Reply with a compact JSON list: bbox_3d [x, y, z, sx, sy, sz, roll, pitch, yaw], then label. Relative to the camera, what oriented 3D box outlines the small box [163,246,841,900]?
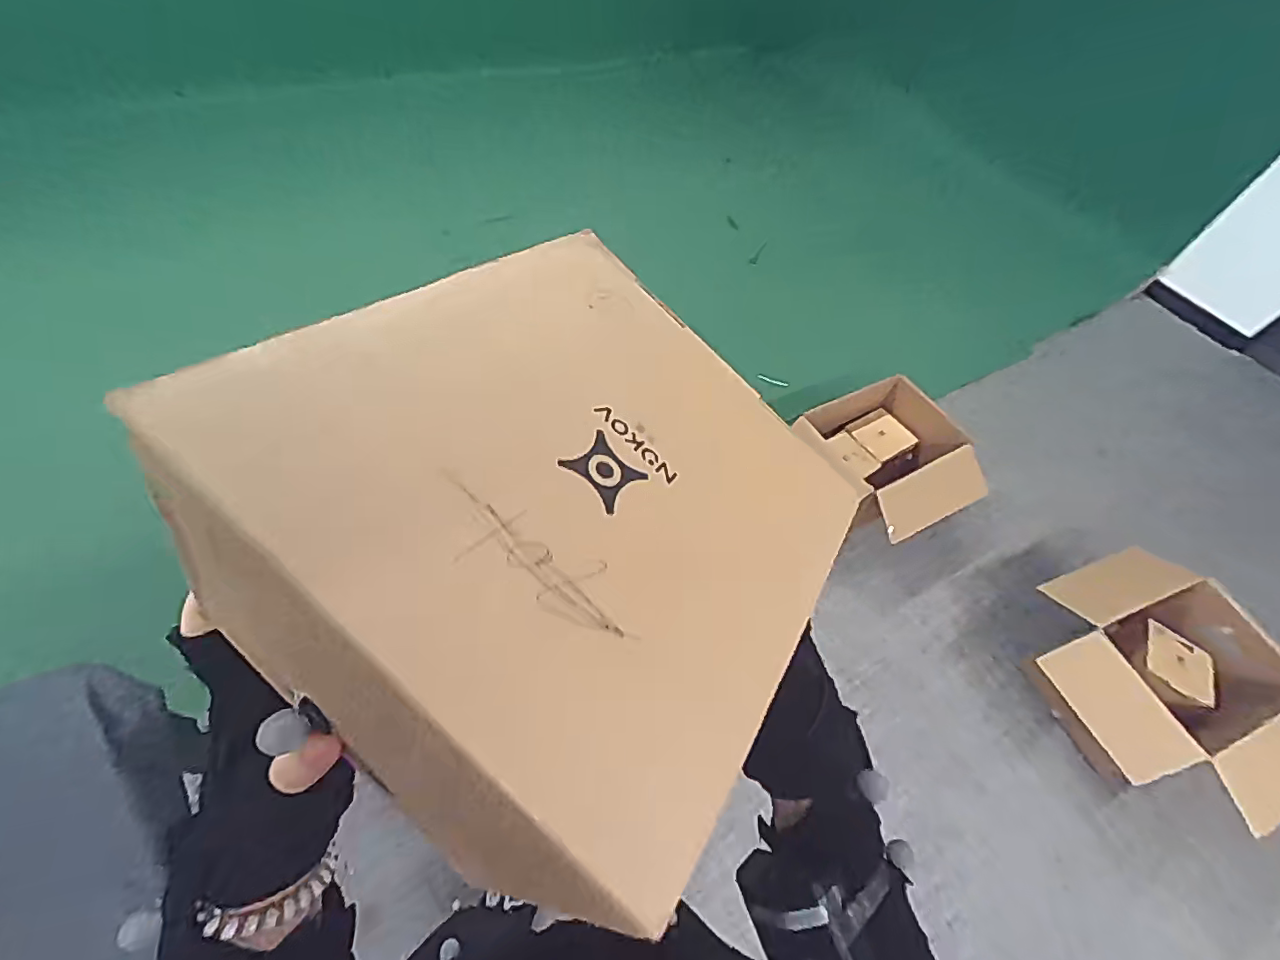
[{"bbox_3d":[-0.050,0.035,0.240,0.168,0.176,0.179,44,47,2],"label":"small box"}]
